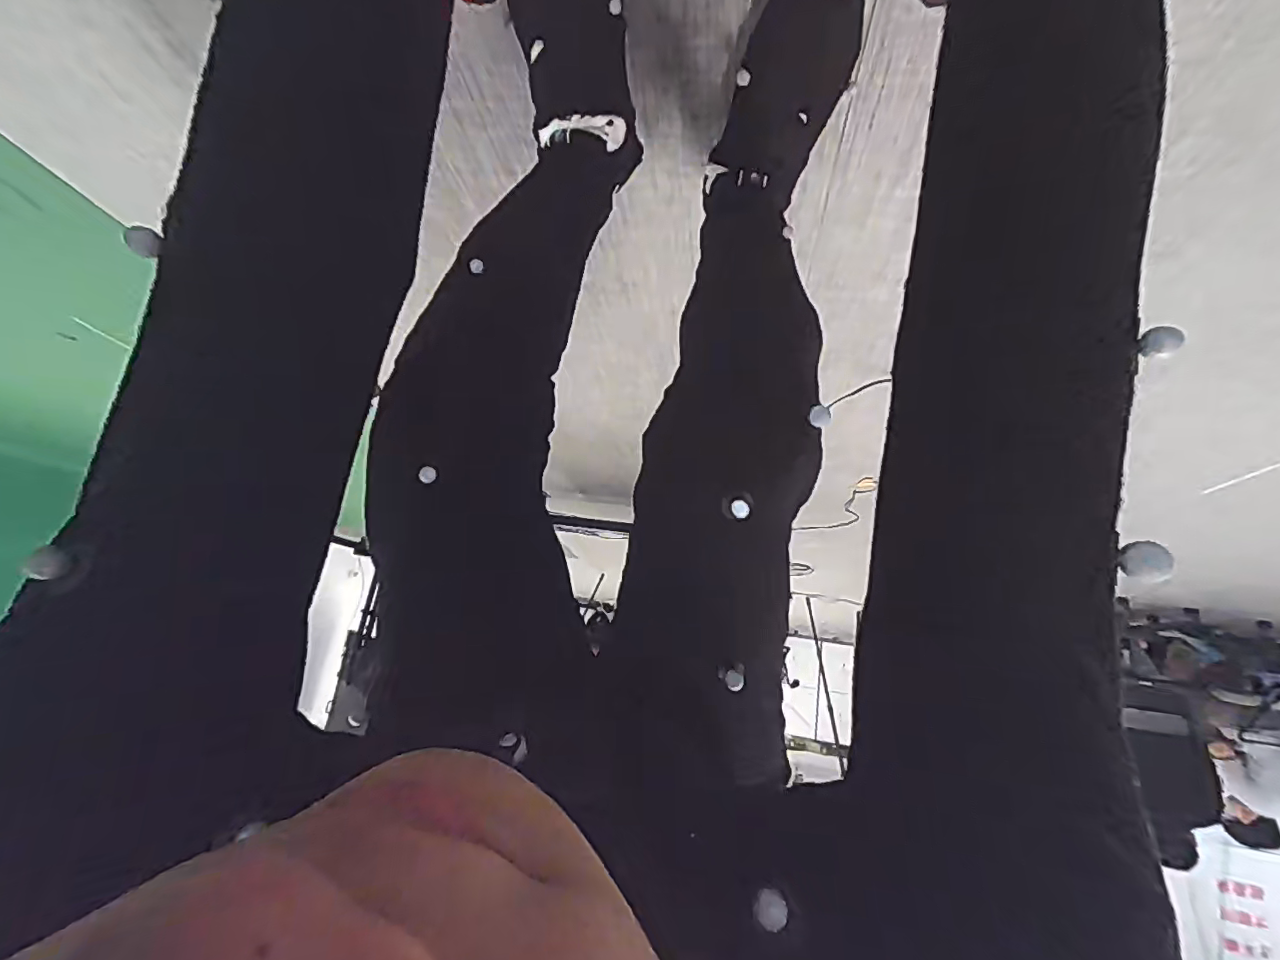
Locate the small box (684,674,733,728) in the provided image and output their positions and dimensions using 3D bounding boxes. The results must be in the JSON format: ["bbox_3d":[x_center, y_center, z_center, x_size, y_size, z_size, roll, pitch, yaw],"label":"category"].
[{"bbox_3d":[0.283,0.897,2.201,0.179,0.176,0.168,6,163,15],"label":"small box"}]
